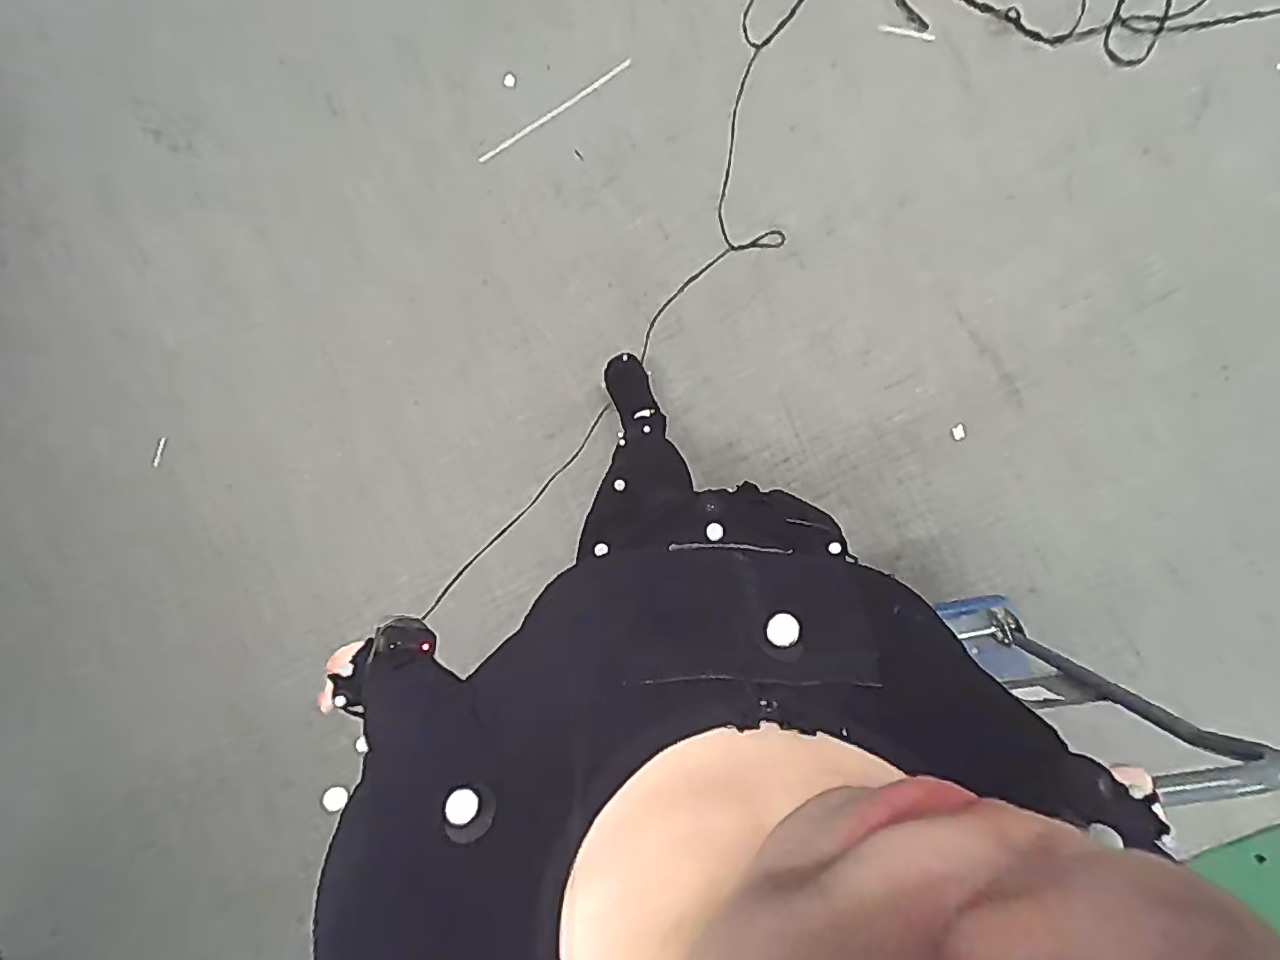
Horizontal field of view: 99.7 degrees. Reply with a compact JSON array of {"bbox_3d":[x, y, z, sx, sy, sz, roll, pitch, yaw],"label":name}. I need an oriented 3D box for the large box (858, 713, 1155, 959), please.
[{"bbox_3d":[0.726,0.731,1.139,0.408,0.320,0.320,-11,91,9],"label":"large box"}]
